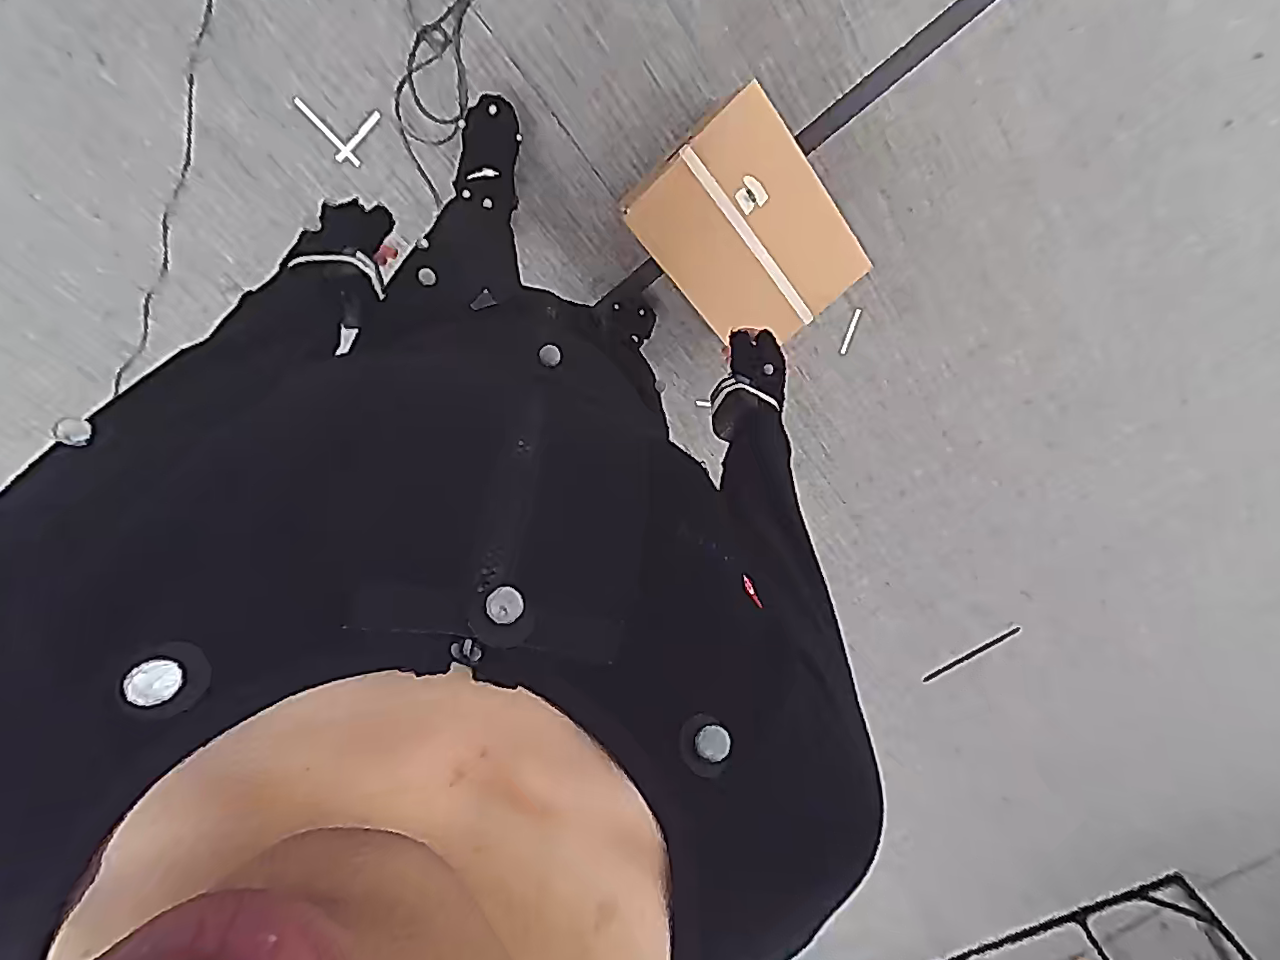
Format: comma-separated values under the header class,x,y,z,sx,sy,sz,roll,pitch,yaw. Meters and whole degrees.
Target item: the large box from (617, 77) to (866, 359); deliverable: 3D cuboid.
class,x,y,z,sx,sy,sz,roll,pitch,yaw
large box,0.195,-0.540,1.159,0.320,0.320,0.408,-40,114,16
